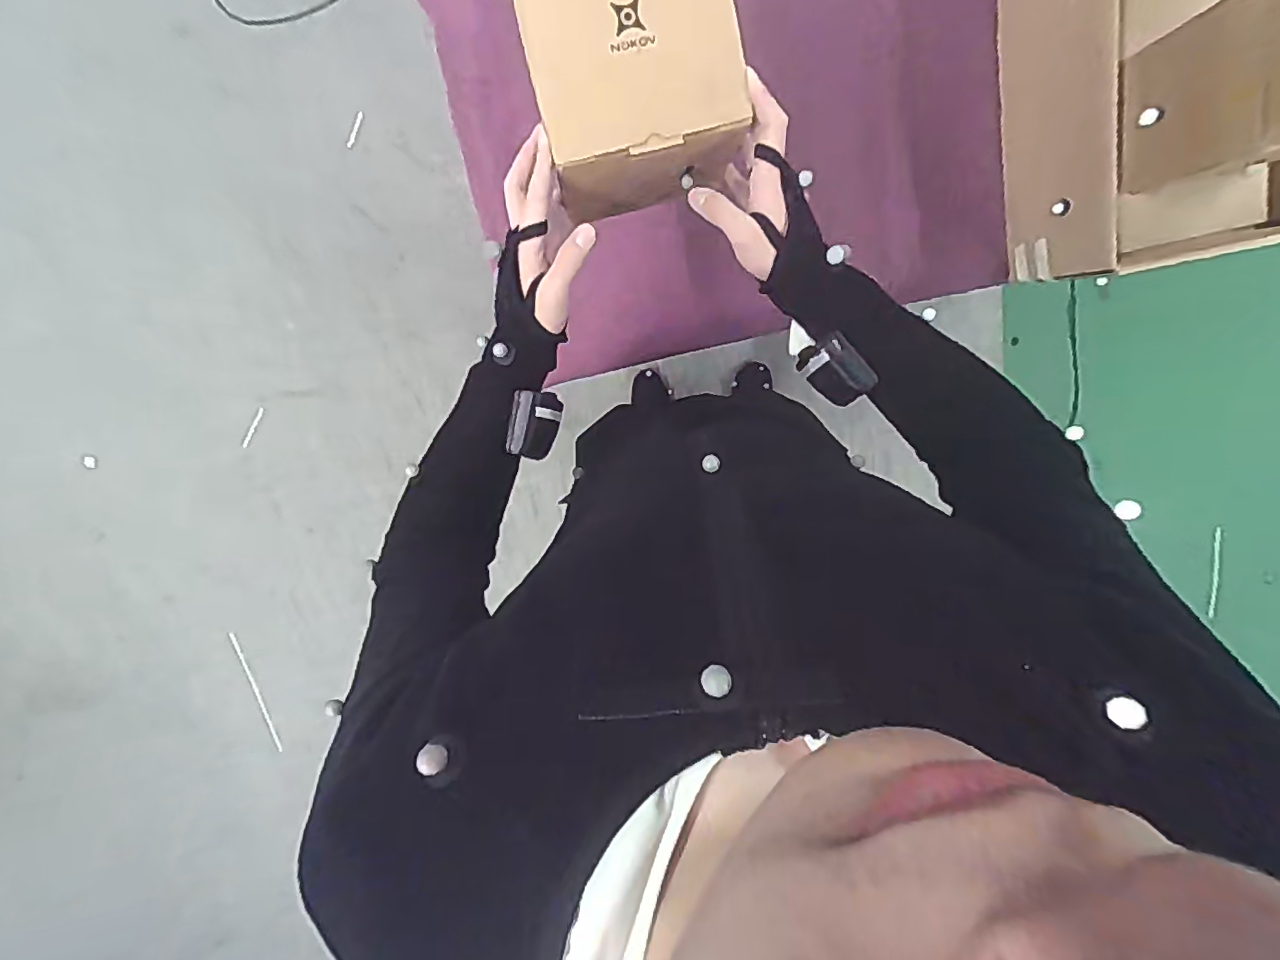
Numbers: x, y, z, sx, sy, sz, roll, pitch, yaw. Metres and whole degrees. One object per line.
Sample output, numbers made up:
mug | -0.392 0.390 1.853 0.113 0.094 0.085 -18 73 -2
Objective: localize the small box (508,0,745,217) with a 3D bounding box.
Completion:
small box | -0.017 -0.360 0.494 0.168 0.176 0.179 -14 101 -1

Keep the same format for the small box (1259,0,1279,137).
small box | 0.738 -0.440 0.494 0.168 0.176 0.179 -11 102 4
